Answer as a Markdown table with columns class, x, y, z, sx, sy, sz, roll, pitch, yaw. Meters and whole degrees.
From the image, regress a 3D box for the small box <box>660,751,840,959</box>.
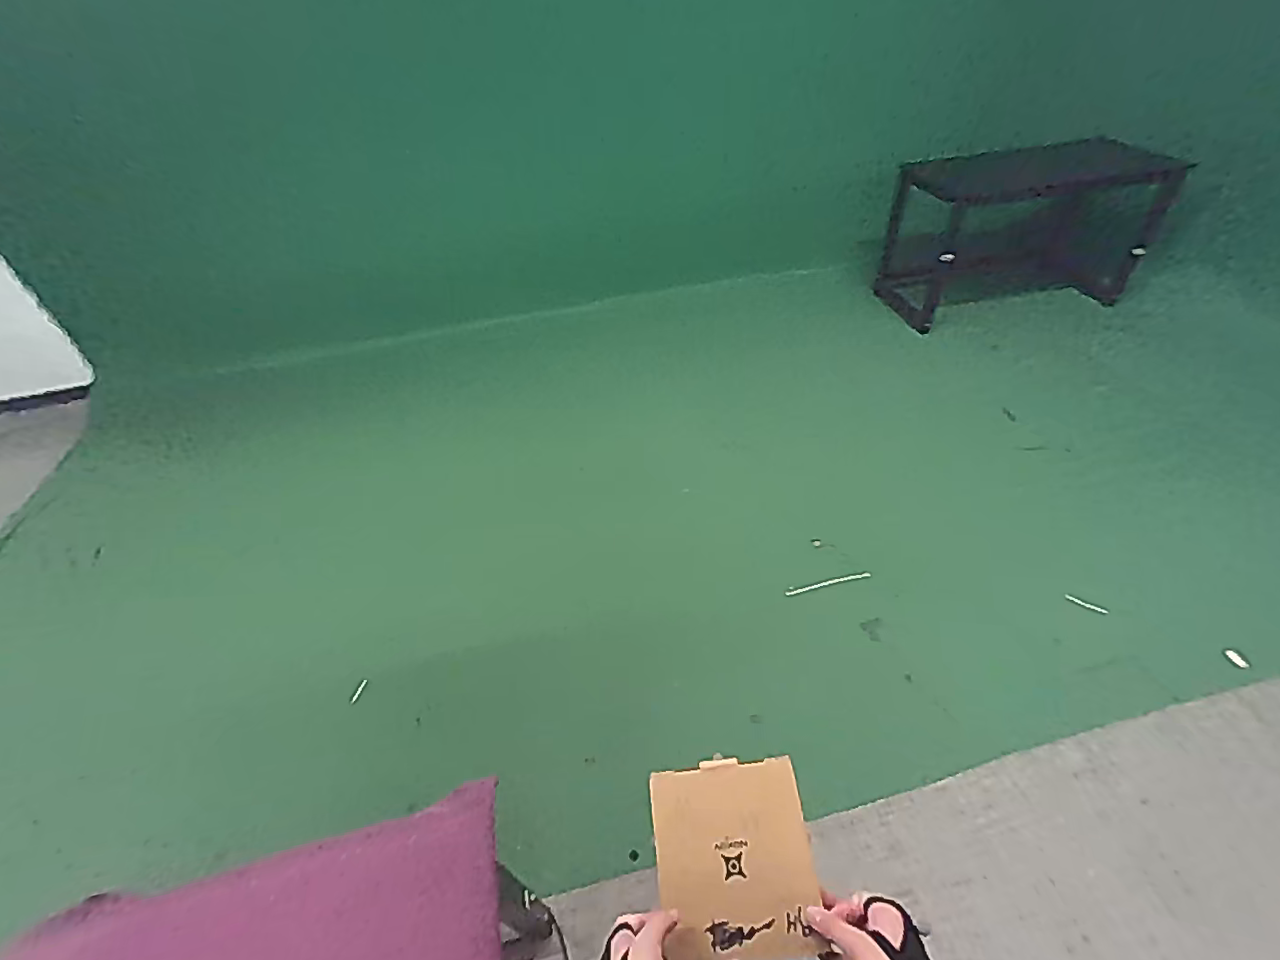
| class | x | y | z | sx | sy | sz | roll | pitch | yaw |
| --- | --- | --- | --- | --- | --- | --- | --- | --- | --- |
| small box | 0.119 | 0.434 | 0.643 | 0.168 | 0.176 | 0.179 | -9 | 60 | 4 |
